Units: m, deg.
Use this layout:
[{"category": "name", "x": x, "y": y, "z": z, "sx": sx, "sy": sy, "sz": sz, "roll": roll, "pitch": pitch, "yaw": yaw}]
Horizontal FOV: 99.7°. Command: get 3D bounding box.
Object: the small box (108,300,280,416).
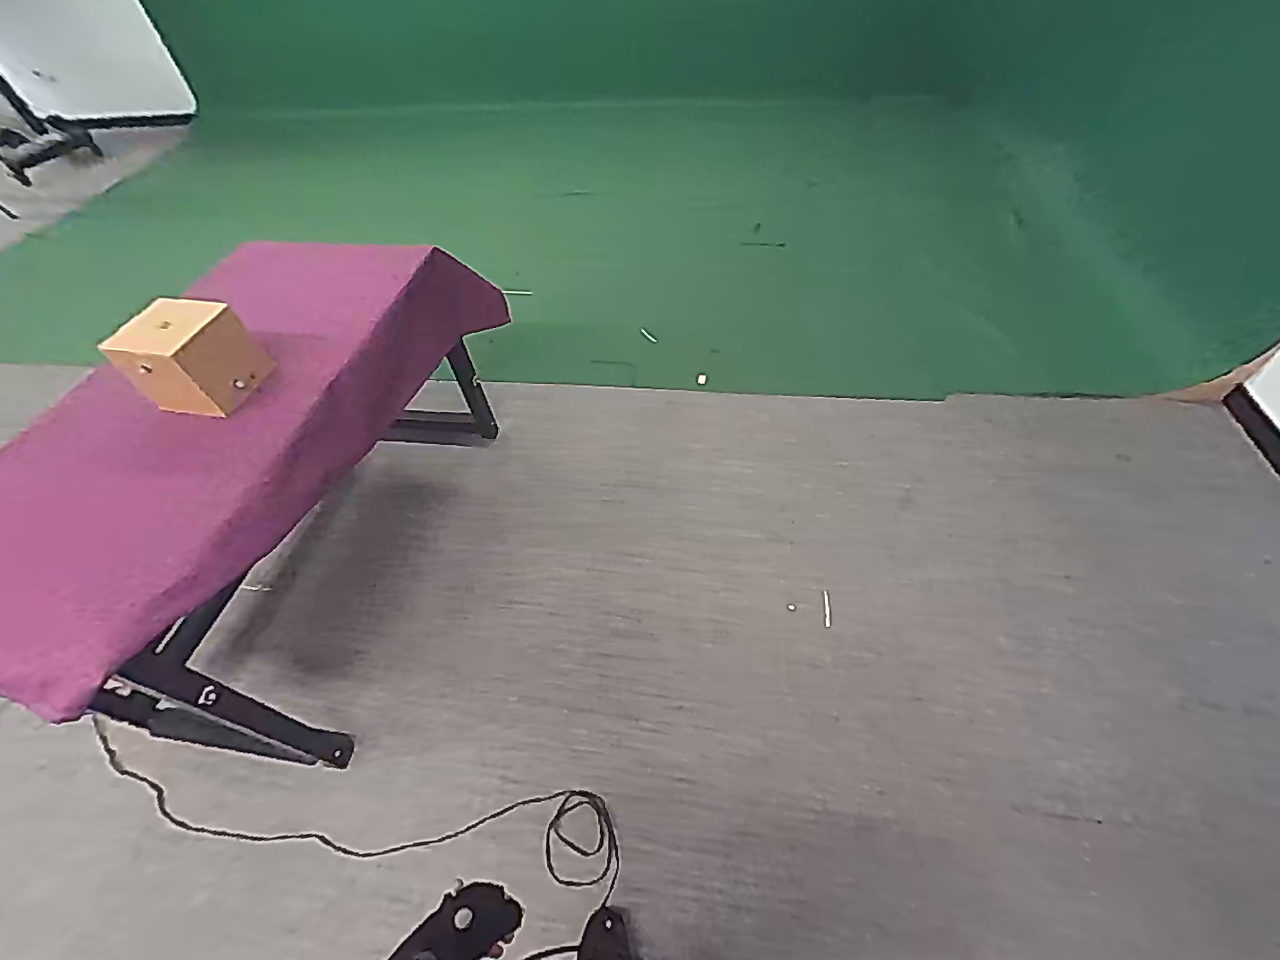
[{"category": "small box", "x": -0.913, "y": -0.251, "z": 1.125, "sx": 0.179, "sy": 0.176, "sz": 0.168, "roll": 8, "pitch": 54, "yaw": 11}]
